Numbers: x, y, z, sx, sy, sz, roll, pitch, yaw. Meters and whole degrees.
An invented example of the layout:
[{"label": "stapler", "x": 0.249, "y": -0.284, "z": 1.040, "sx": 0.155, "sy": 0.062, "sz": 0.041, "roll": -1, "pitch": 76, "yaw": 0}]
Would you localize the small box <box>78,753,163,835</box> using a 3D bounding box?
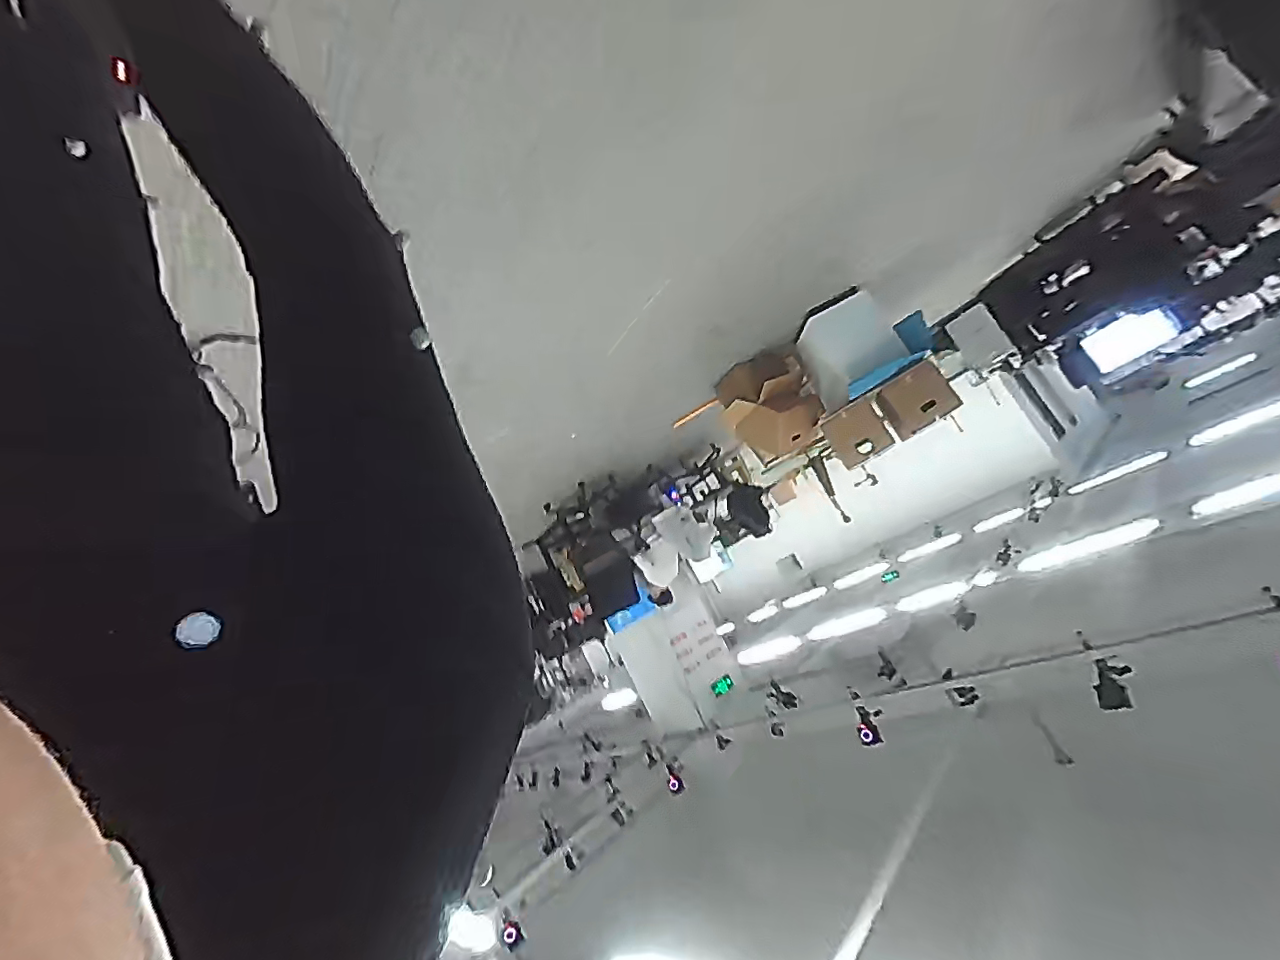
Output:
[{"label": "small box", "x": -1.664, "y": 1.005, "z": 1.737, "sx": 0.168, "sy": 0.176, "sz": 0.179, "roll": -17, "pitch": 164, "yaw": -44}]
